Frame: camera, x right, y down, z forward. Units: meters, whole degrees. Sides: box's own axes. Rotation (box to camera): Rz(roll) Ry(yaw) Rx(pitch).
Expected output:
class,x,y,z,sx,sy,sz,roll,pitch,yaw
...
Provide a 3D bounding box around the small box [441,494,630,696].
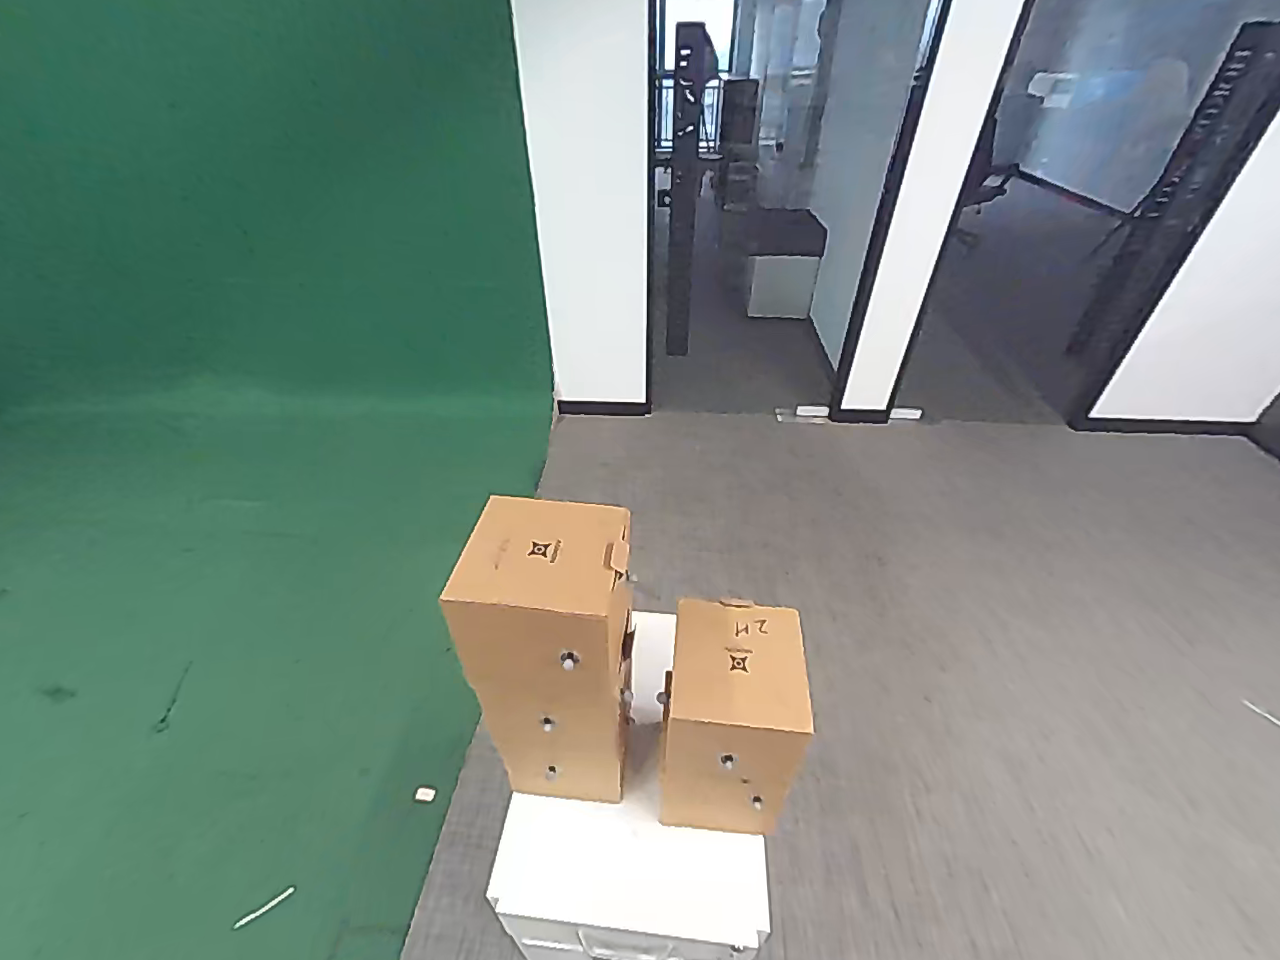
class,x,y,z,sx,sy,sz,roll,pitch,yaw
small box,-0.108,0.139,0.651,0.179,0.176,0.168,4,39,5

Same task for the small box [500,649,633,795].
class,x,y,z,sx,sy,sz,roll,pitch,yaw
small box,-0.107,0.384,0.870,0.179,0.176,0.168,4,40,3

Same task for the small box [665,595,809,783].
class,x,y,z,sx,sy,sz,roll,pitch,yaw
small box,0.123,0.283,0.733,0.168,0.176,0.179,5,40,5
